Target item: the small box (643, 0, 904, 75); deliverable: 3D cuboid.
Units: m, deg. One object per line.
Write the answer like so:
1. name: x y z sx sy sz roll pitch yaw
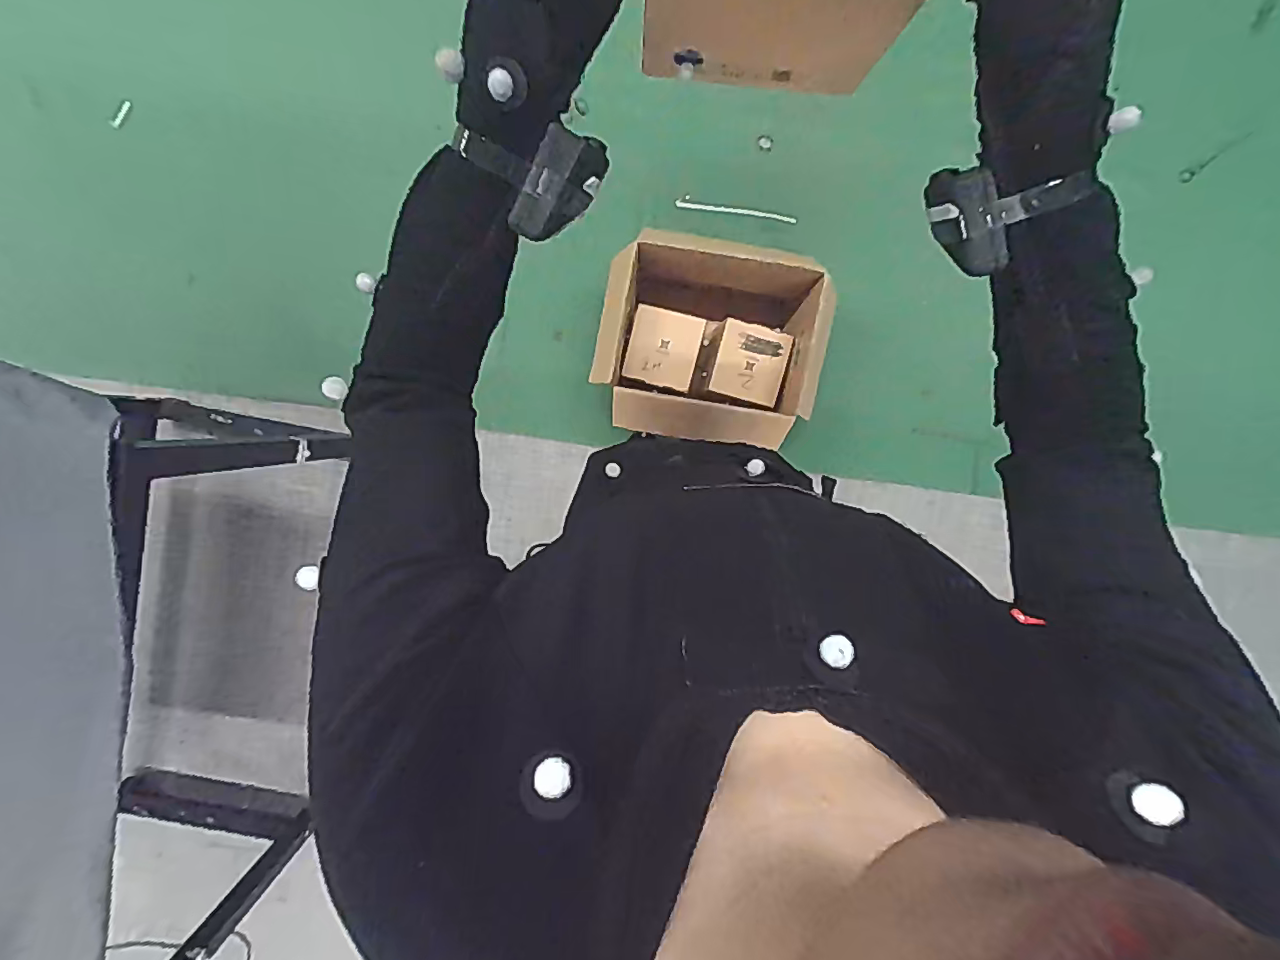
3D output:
1. small box: 0.090 -0.373 0.308 0.168 0.176 0.179 4 101 -2
